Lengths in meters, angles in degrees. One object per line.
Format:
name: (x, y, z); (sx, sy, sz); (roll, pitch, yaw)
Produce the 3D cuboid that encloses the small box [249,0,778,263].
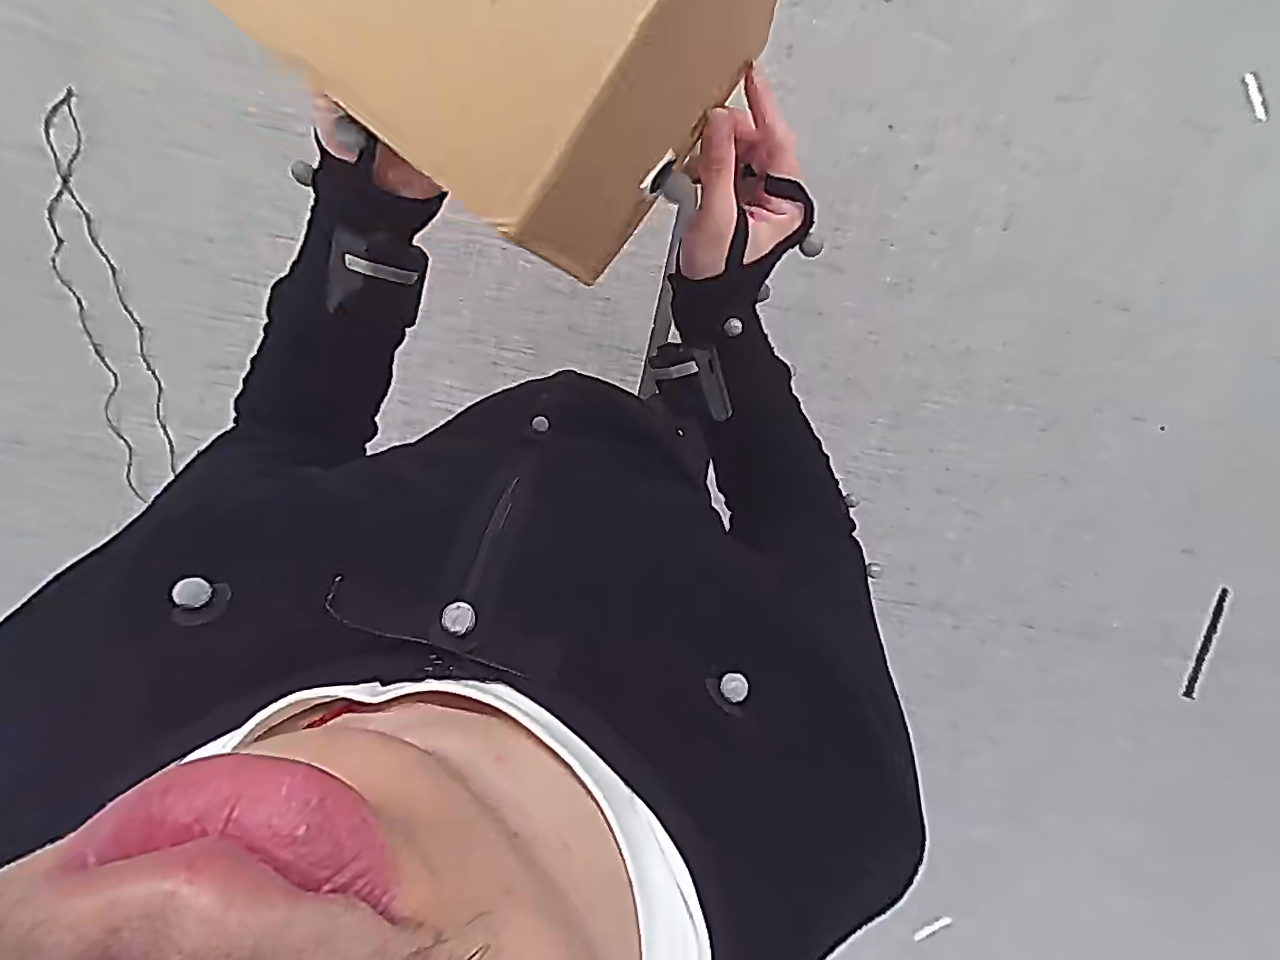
small box: (-0.048, -0.222, 0.245); (0.179, 0.176, 0.168); (36, 105, -5)
